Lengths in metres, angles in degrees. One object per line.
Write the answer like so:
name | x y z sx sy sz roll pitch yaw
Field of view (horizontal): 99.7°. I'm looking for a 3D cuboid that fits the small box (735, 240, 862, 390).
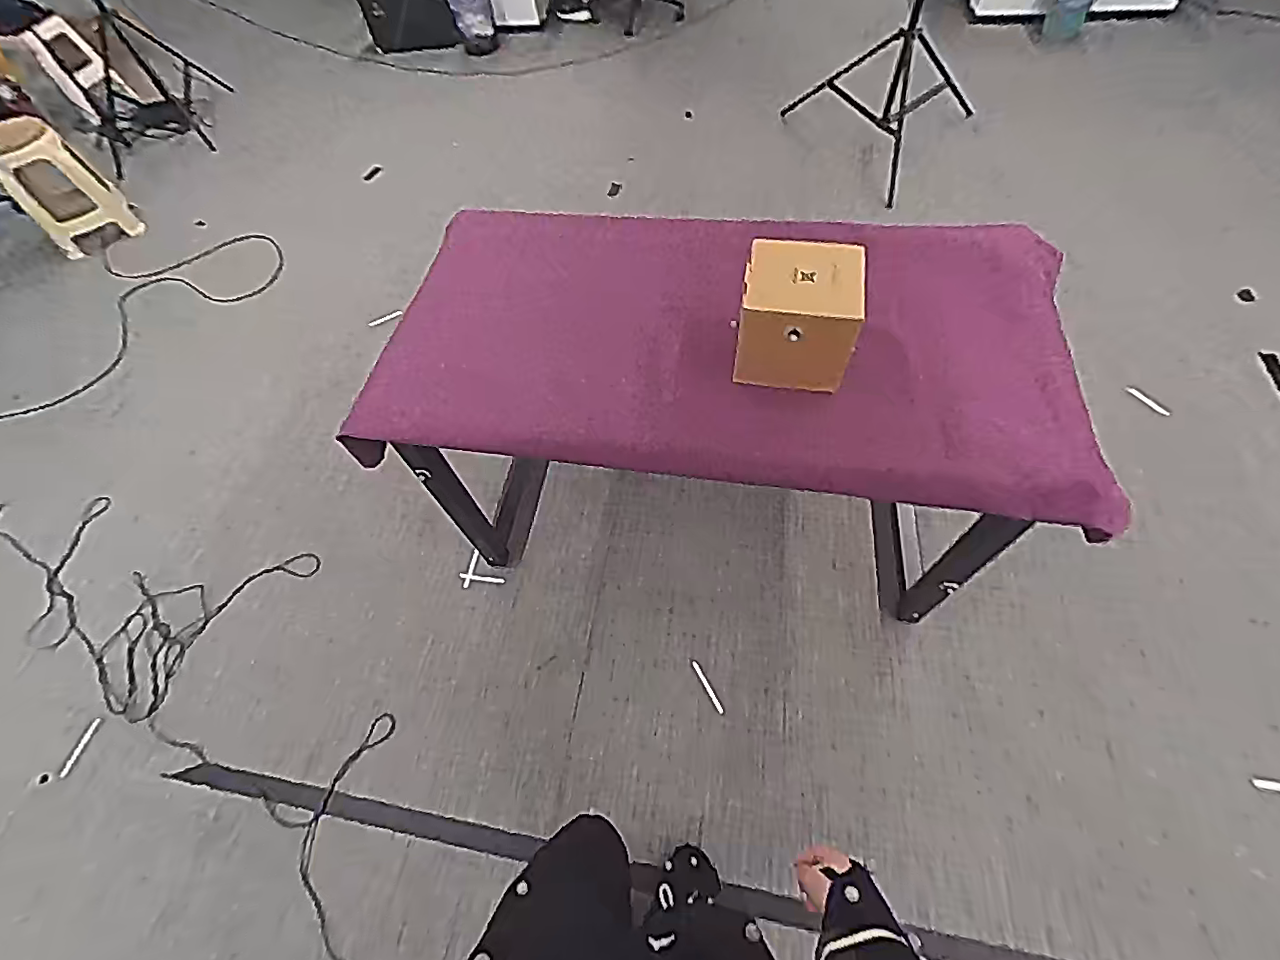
small box | 0.255 -0.268 0.891 0.179 0.176 0.168 8 61 9
